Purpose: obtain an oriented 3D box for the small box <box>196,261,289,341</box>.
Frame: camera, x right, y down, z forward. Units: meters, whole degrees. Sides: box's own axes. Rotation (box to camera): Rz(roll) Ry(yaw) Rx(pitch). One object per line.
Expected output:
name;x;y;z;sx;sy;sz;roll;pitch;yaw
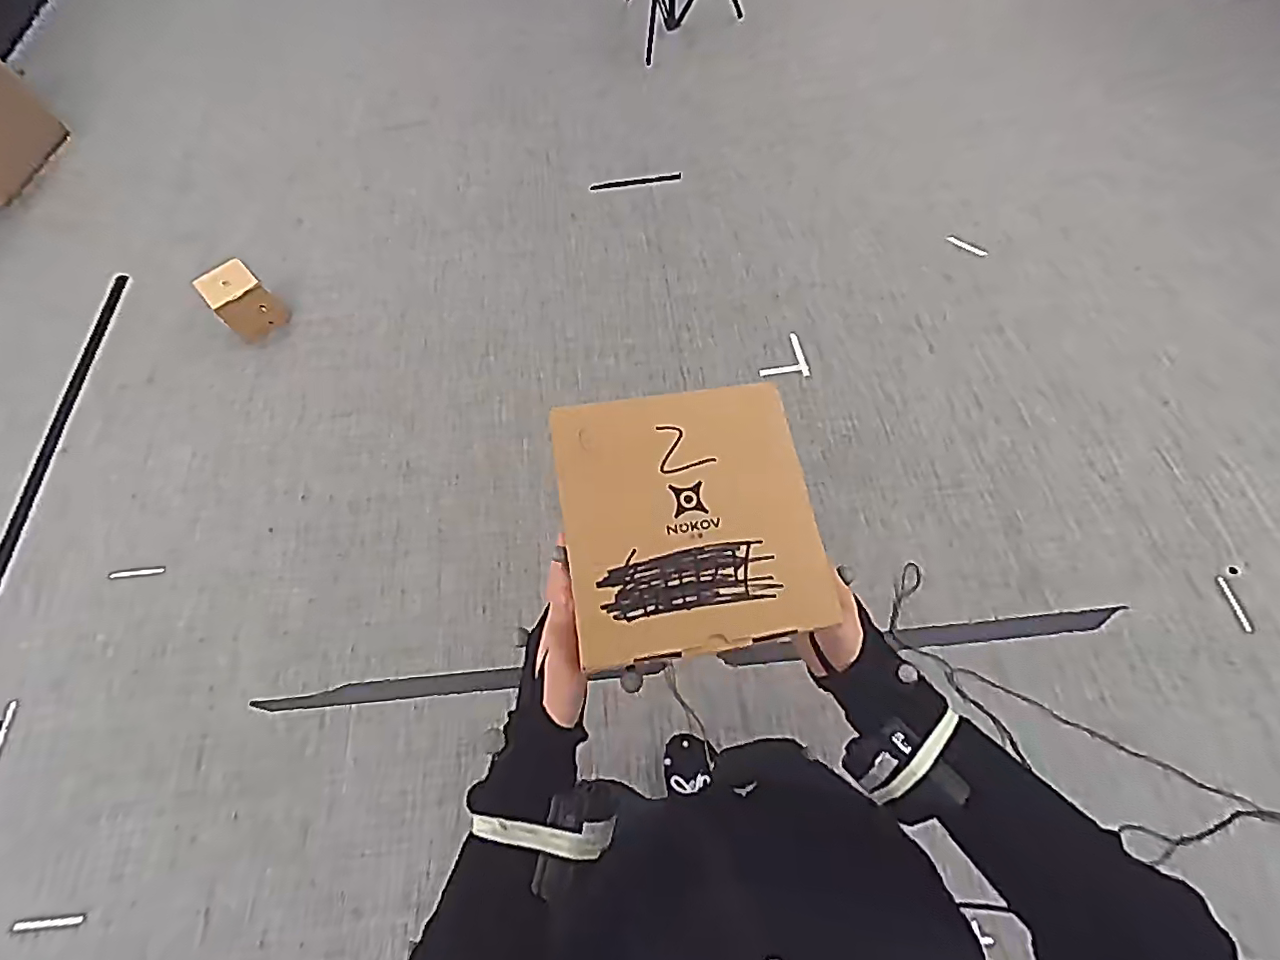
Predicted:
small box;-1.367;-0.610;1.870;0.168;0.176;0.179;-41;68;-17
